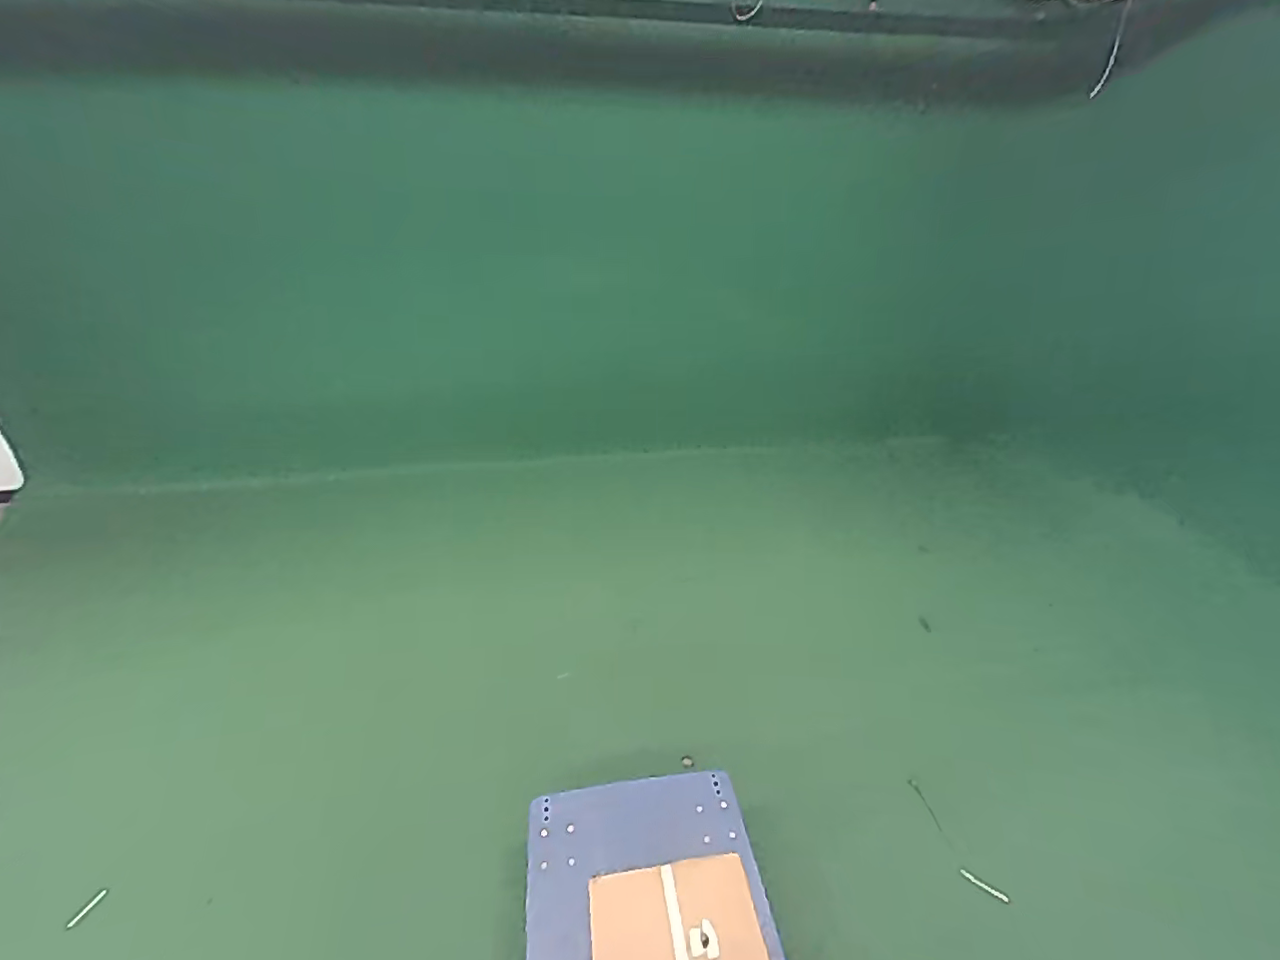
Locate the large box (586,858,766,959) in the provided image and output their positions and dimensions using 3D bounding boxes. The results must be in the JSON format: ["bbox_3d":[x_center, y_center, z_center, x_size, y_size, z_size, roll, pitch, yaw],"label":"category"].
[{"bbox_3d":[0.079,1.010,0.983,0.320,0.320,0.408,-4,27,-8],"label":"large box"}]
